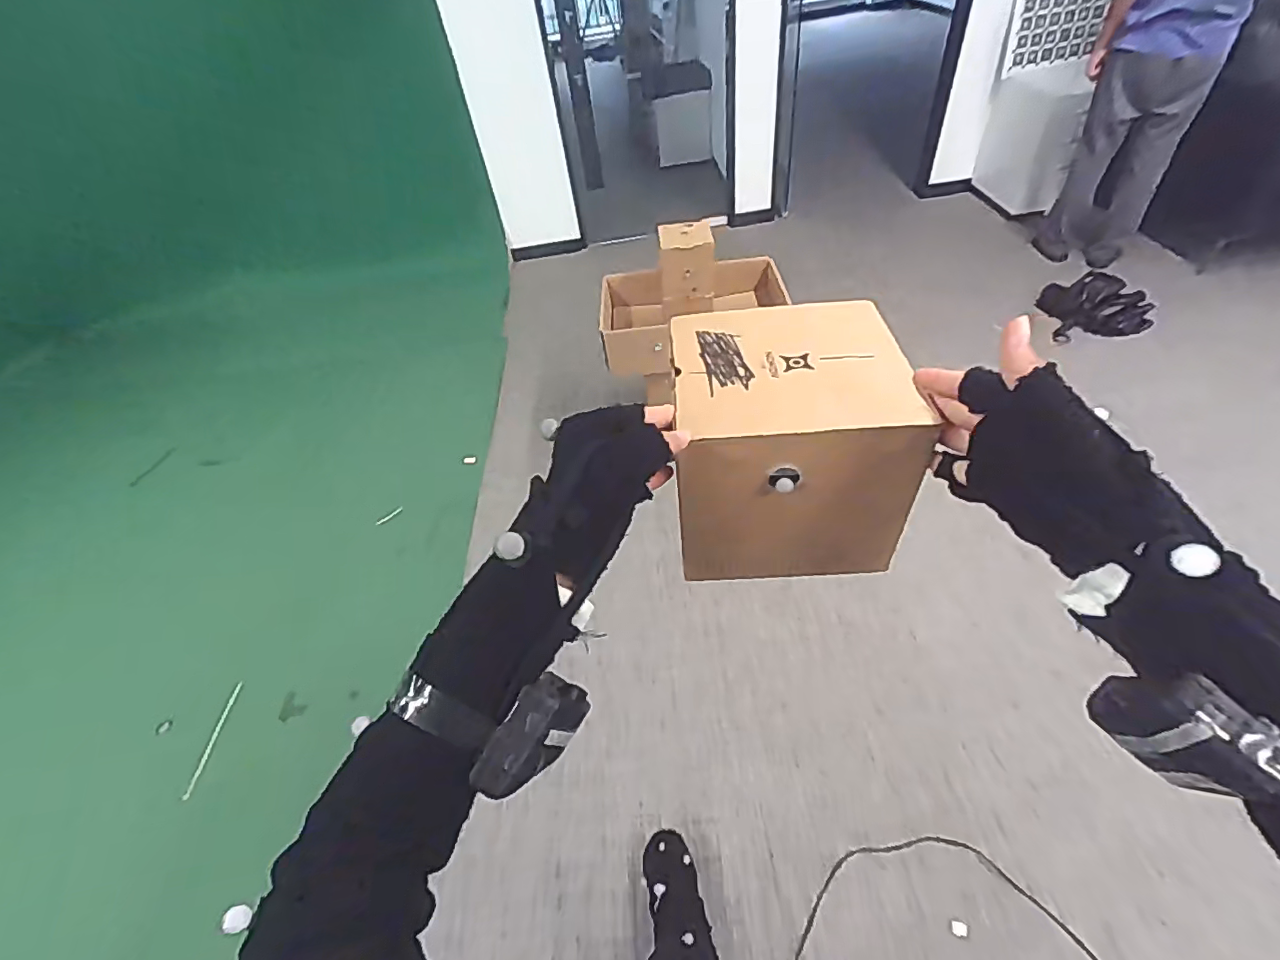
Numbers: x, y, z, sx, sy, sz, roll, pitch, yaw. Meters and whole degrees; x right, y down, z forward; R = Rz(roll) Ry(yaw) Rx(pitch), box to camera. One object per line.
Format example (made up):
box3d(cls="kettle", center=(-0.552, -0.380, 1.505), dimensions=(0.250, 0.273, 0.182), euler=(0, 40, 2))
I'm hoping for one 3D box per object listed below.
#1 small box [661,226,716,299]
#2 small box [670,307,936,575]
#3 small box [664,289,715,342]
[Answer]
box3d(cls="small box", center=(0.160, -0.708, 1.773), dimensions=(0.168, 0.176, 0.179), euler=(-4, 47, 2))
box3d(cls="small box", center=(0.121, -0.030, 0.475), dimensions=(0.179, 0.176, 0.168), euler=(-3, 45, 4))
box3d(cls="small box", center=(0.173, -0.588, 1.885), dimensions=(0.168, 0.176, 0.179), euler=(-5, 44, 2))
